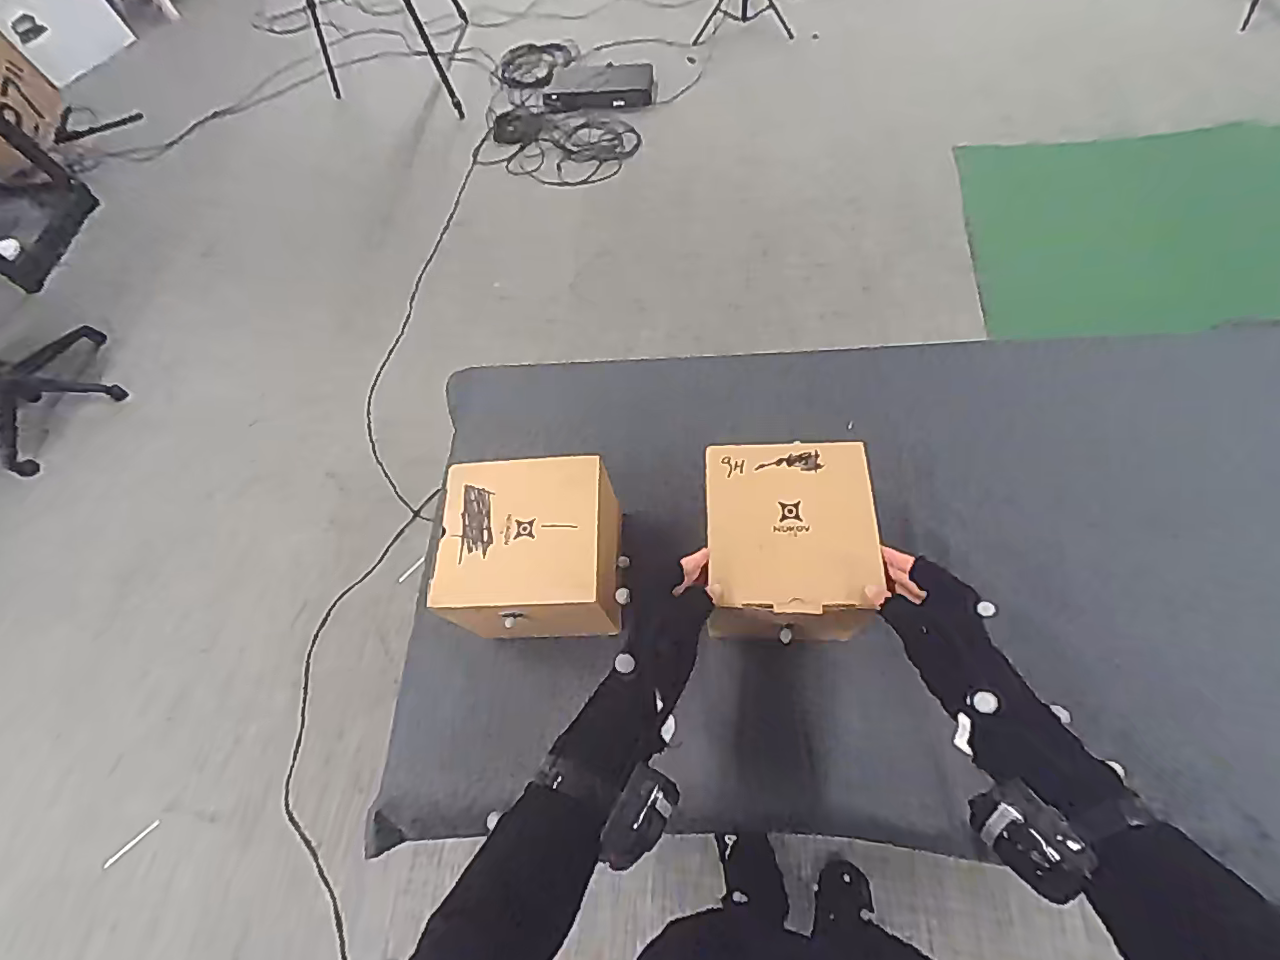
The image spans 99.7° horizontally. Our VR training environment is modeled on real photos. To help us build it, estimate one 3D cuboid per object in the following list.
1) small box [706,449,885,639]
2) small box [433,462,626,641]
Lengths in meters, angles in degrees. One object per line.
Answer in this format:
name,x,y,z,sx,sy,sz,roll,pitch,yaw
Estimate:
small box,0.161,0.081,0.614,0.168,0.176,0.179,-2,64,8
small box,-0.116,0.094,0.645,0.179,0.176,0.168,-3,63,5
